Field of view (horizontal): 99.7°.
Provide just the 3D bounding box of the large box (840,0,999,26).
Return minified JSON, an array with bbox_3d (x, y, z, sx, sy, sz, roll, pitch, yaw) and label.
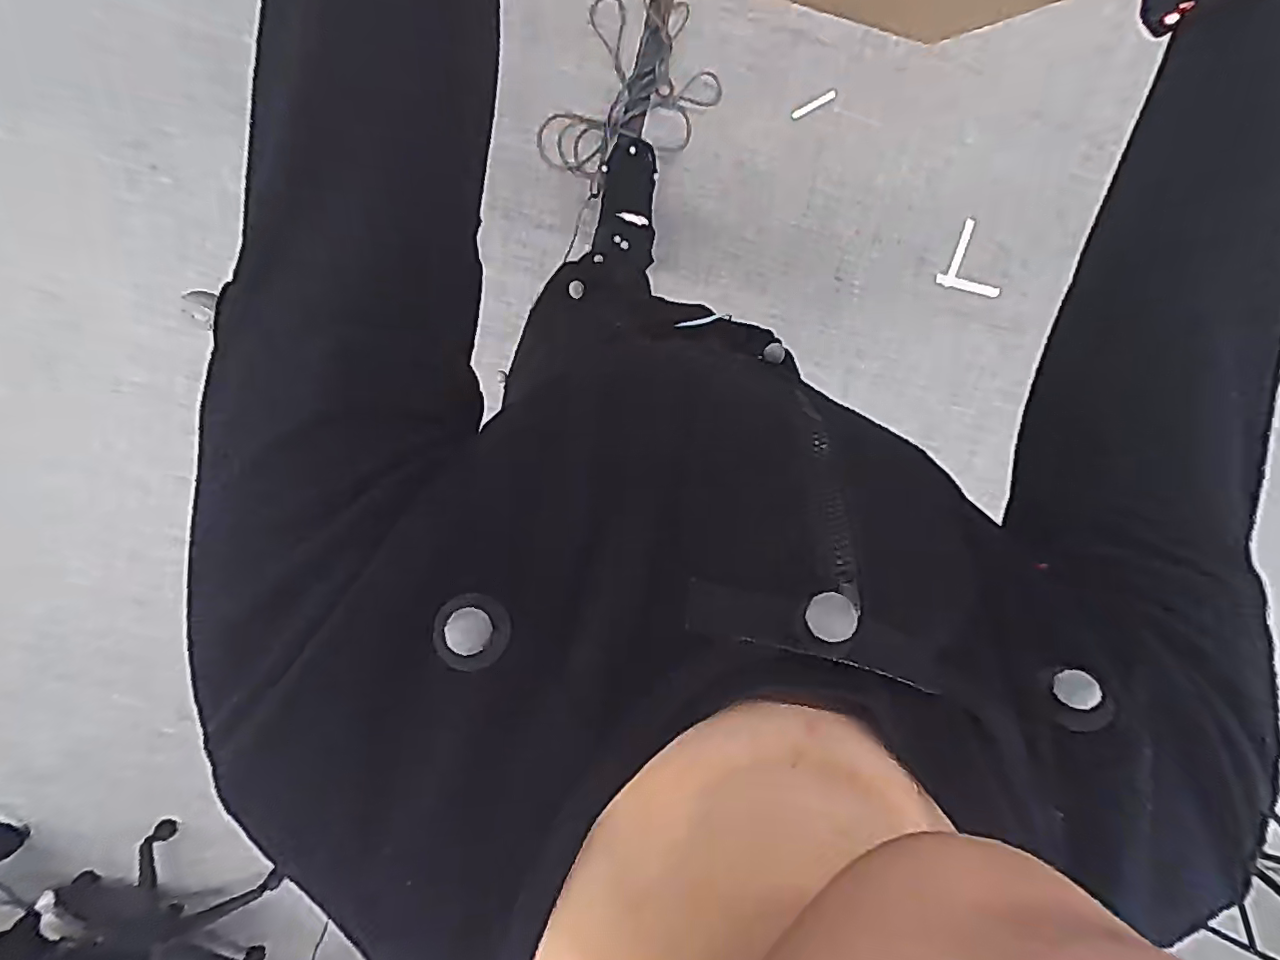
[{"bbox_3d":[0.157,-0.567,0.354,0.408,0.320,0.320,11,123,-8],"label":"large box"}]
